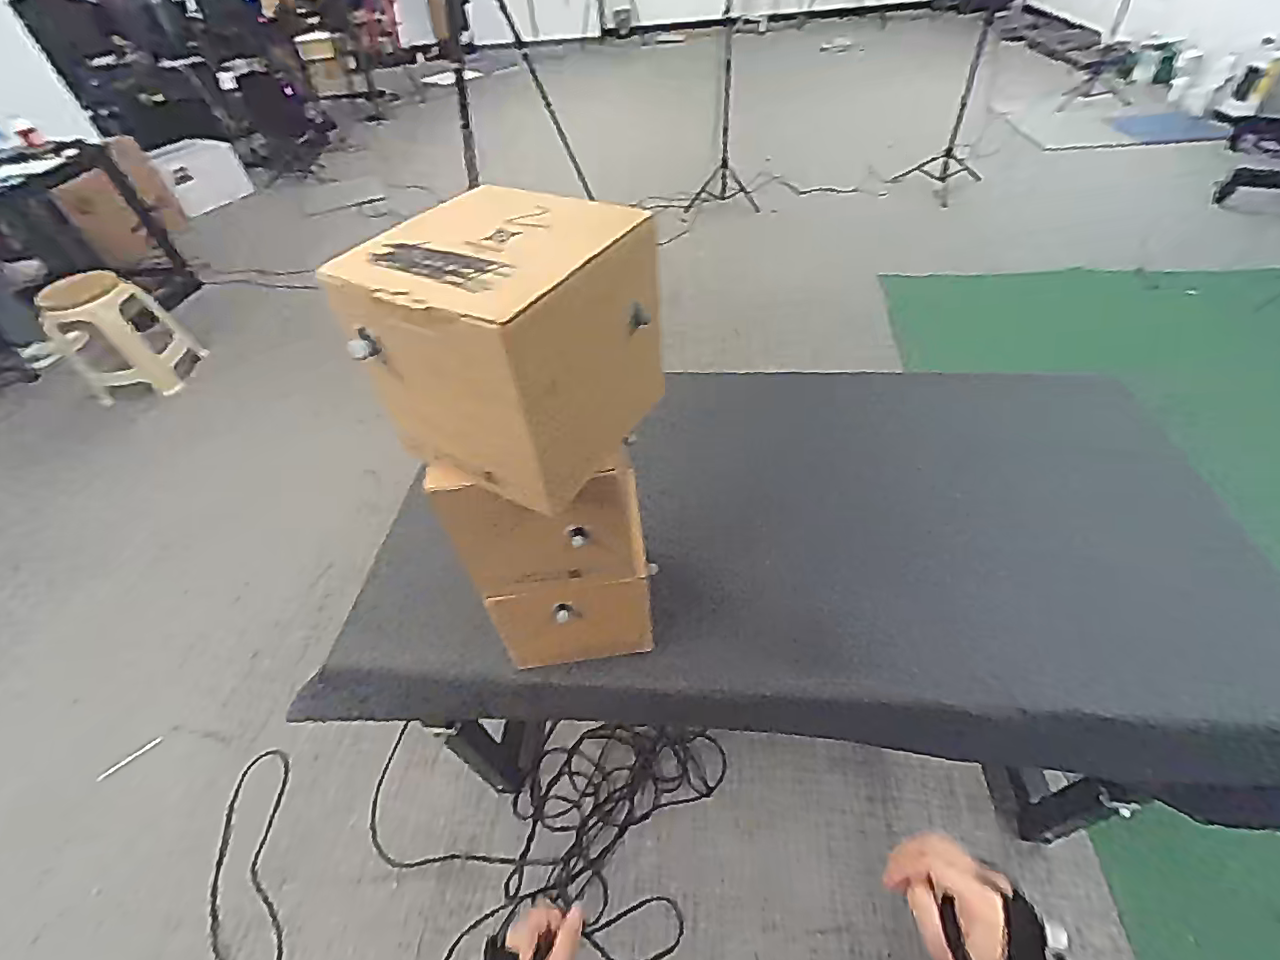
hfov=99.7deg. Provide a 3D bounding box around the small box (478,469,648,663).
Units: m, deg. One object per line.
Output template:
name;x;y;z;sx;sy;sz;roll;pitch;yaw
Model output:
small box;-0.085;0.109;0.673;0.179;0.176;0.168;-7;46;-1

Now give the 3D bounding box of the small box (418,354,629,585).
small box;-0.102;-0.005;0.558;0.168;0.176;0.179;-5;45;0
